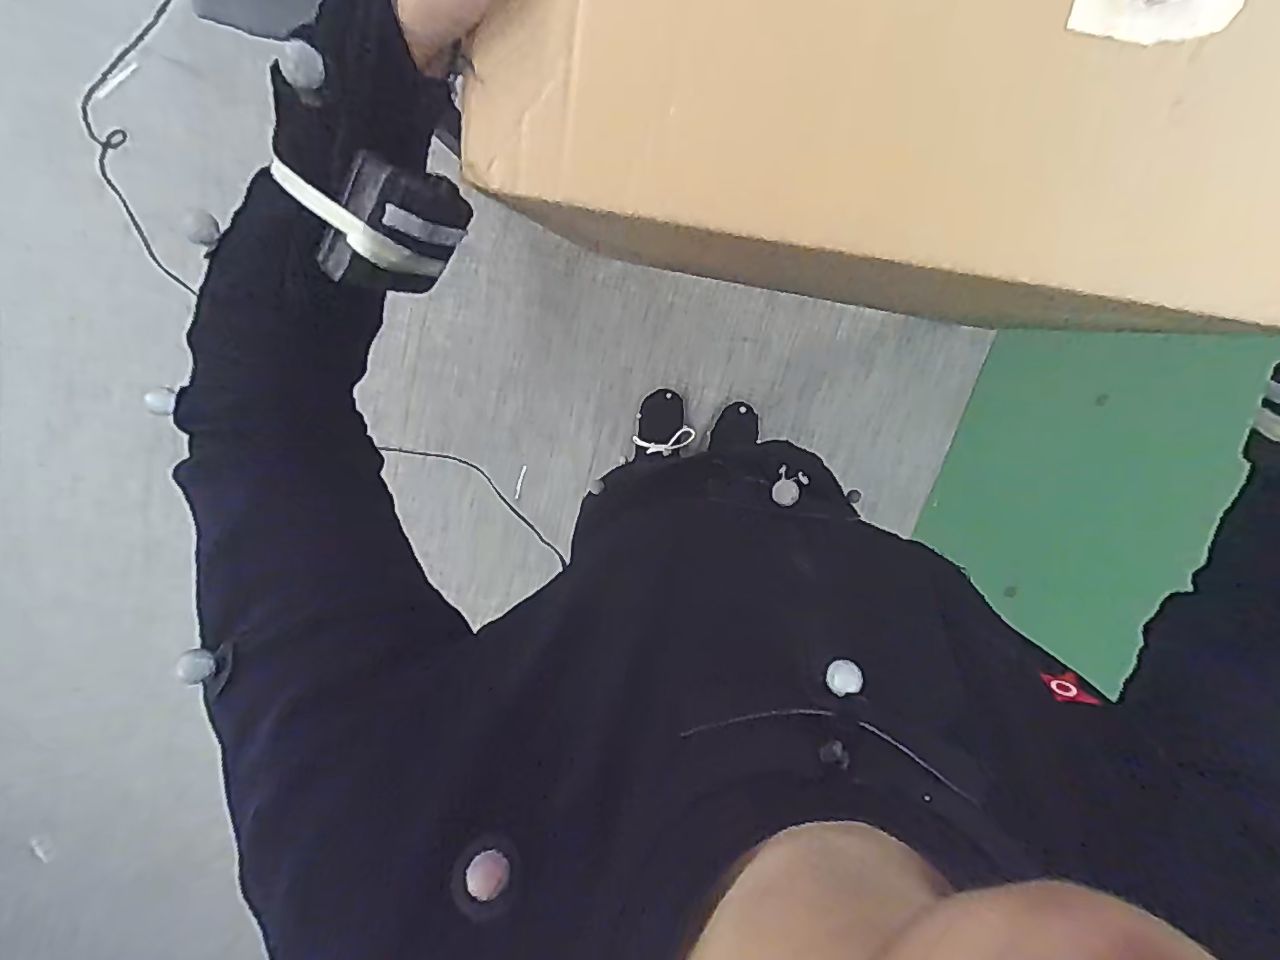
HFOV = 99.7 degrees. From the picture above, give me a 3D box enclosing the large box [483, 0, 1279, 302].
[{"bbox_3d":[0.156,-0.306,0.342,0.408,0.320,0.320,11,108,3],"label":"large box"}]
